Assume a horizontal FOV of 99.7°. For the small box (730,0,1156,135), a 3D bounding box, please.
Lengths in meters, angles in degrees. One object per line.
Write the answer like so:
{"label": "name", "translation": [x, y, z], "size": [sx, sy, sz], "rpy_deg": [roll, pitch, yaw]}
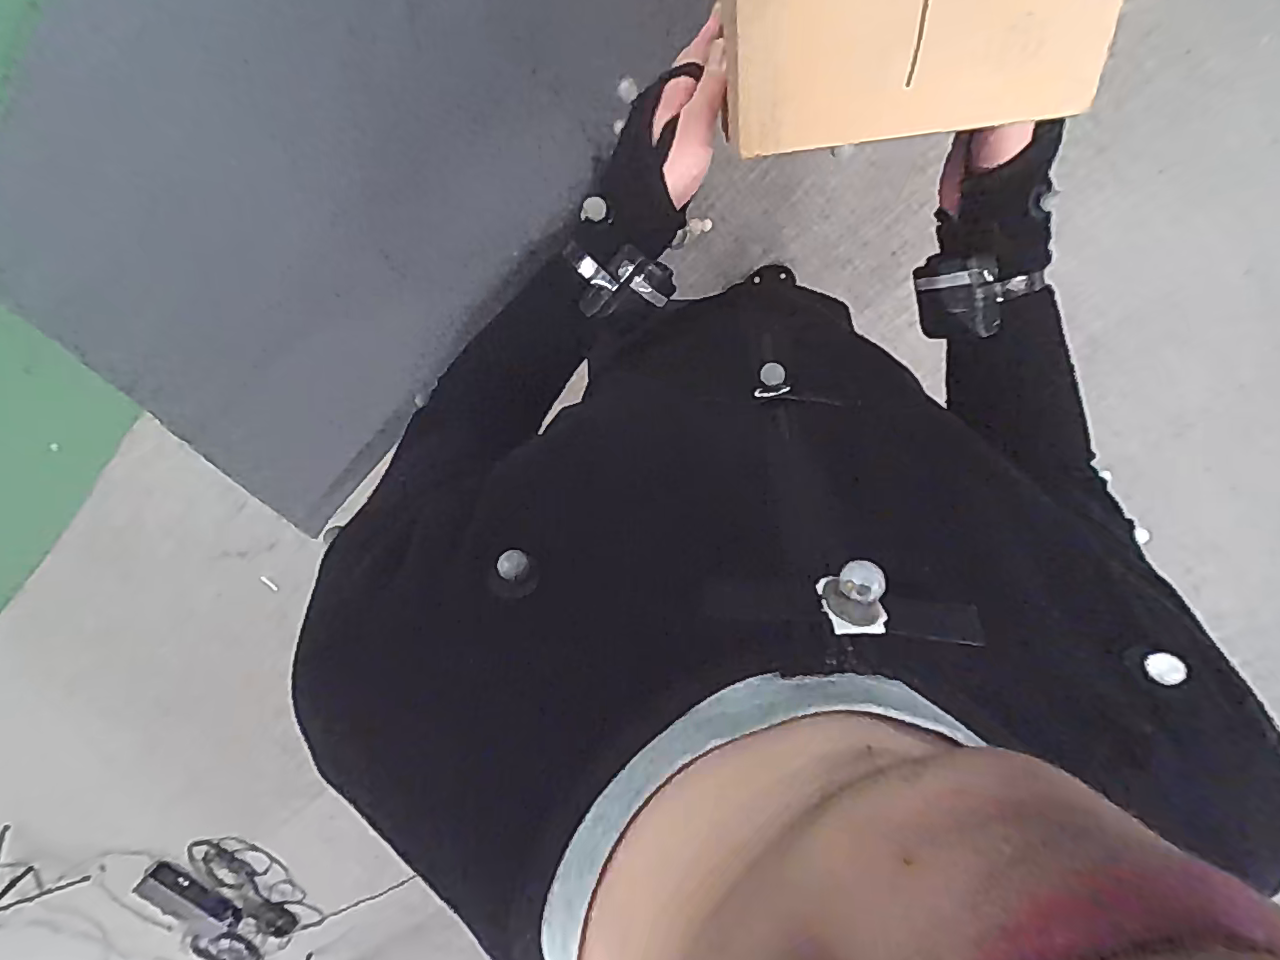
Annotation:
{"label": "small box", "translation": [0.131, -0.283, 0.267], "size": [0.168, 0.176, 0.179], "rpy_deg": [-2, 125, 8]}

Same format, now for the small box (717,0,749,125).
{"label": "small box", "translation": [0.143, -0.378, 0.401], "size": [0.168, 0.176, 0.179], "rpy_deg": [-3, 122, 8]}
